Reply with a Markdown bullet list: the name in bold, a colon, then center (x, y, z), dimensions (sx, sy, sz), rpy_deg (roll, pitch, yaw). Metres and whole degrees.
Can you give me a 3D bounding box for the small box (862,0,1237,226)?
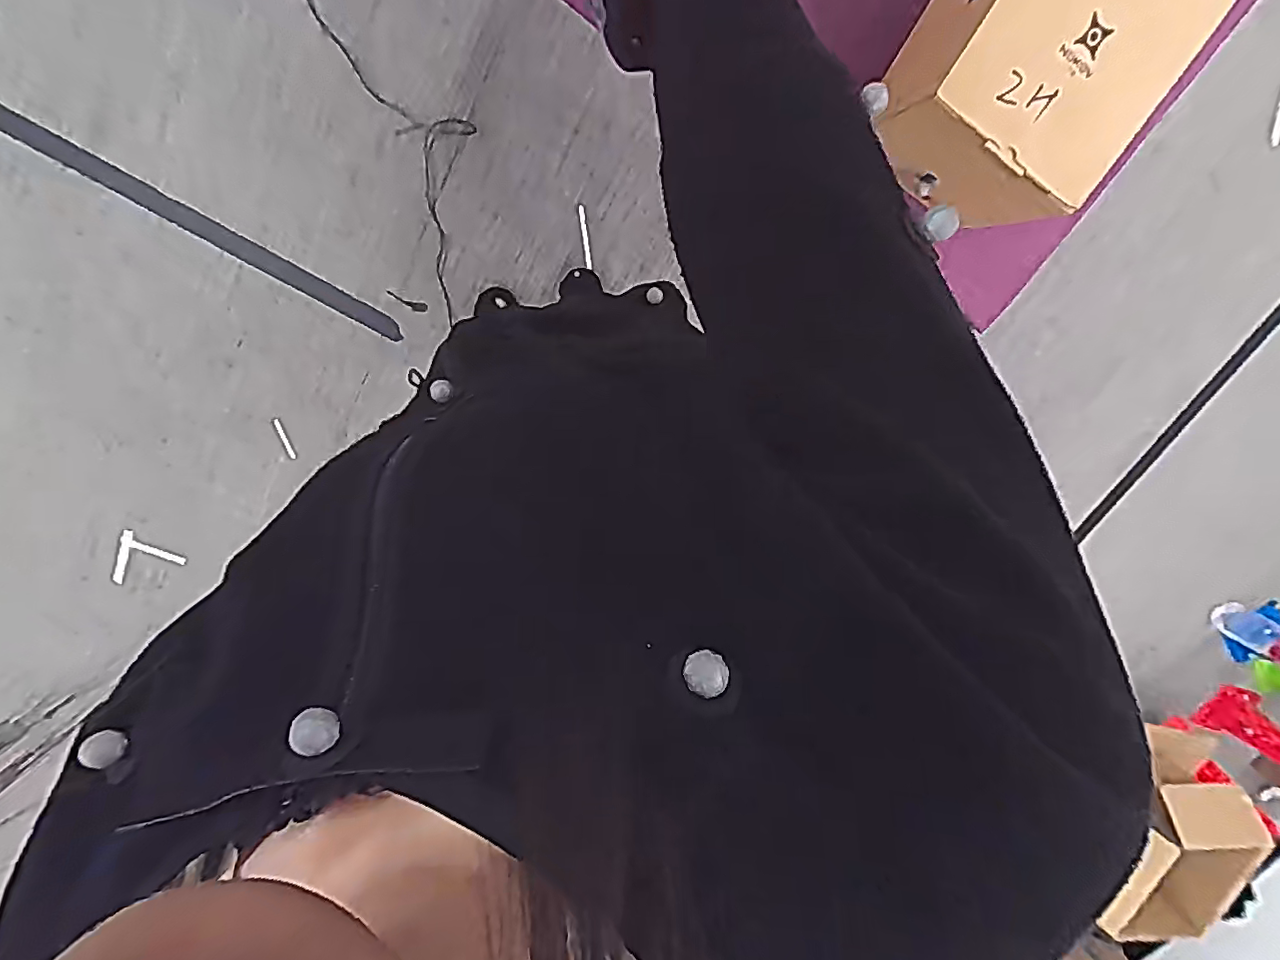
- **small box**: center (0.341, -0.359, 0.492), dimensions (0.168, 0.176, 0.179), rpy_deg (28, 107, -14)
